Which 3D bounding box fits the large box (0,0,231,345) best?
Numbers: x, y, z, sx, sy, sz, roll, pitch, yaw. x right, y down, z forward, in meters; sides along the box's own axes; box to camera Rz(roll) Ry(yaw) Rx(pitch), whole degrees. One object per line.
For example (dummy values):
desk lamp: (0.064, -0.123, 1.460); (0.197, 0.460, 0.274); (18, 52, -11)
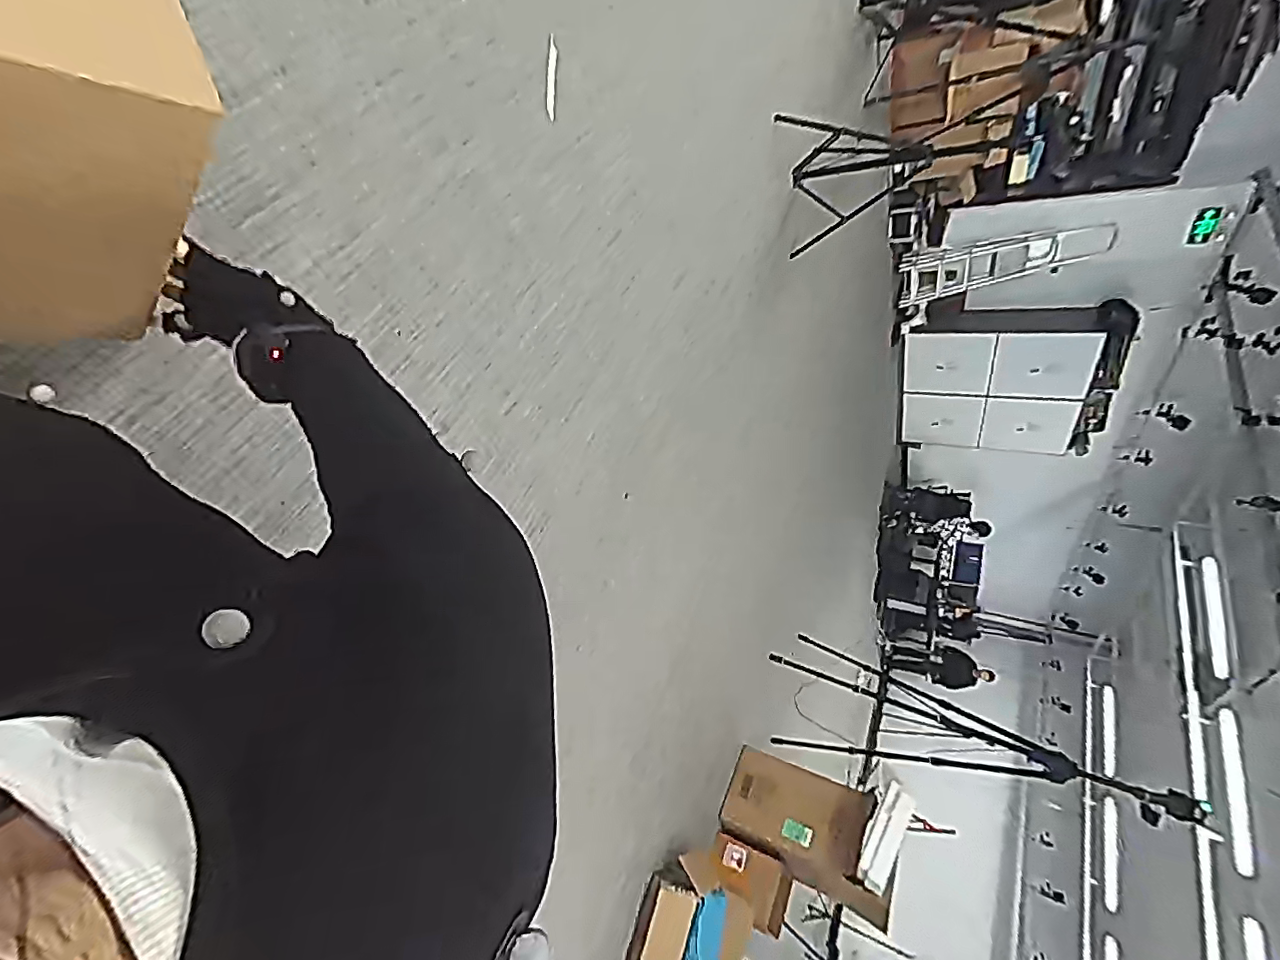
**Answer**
large box: (-0.576, -0.285, 0.324); (0.408, 0.320, 0.320); (-25, 89, -55)
